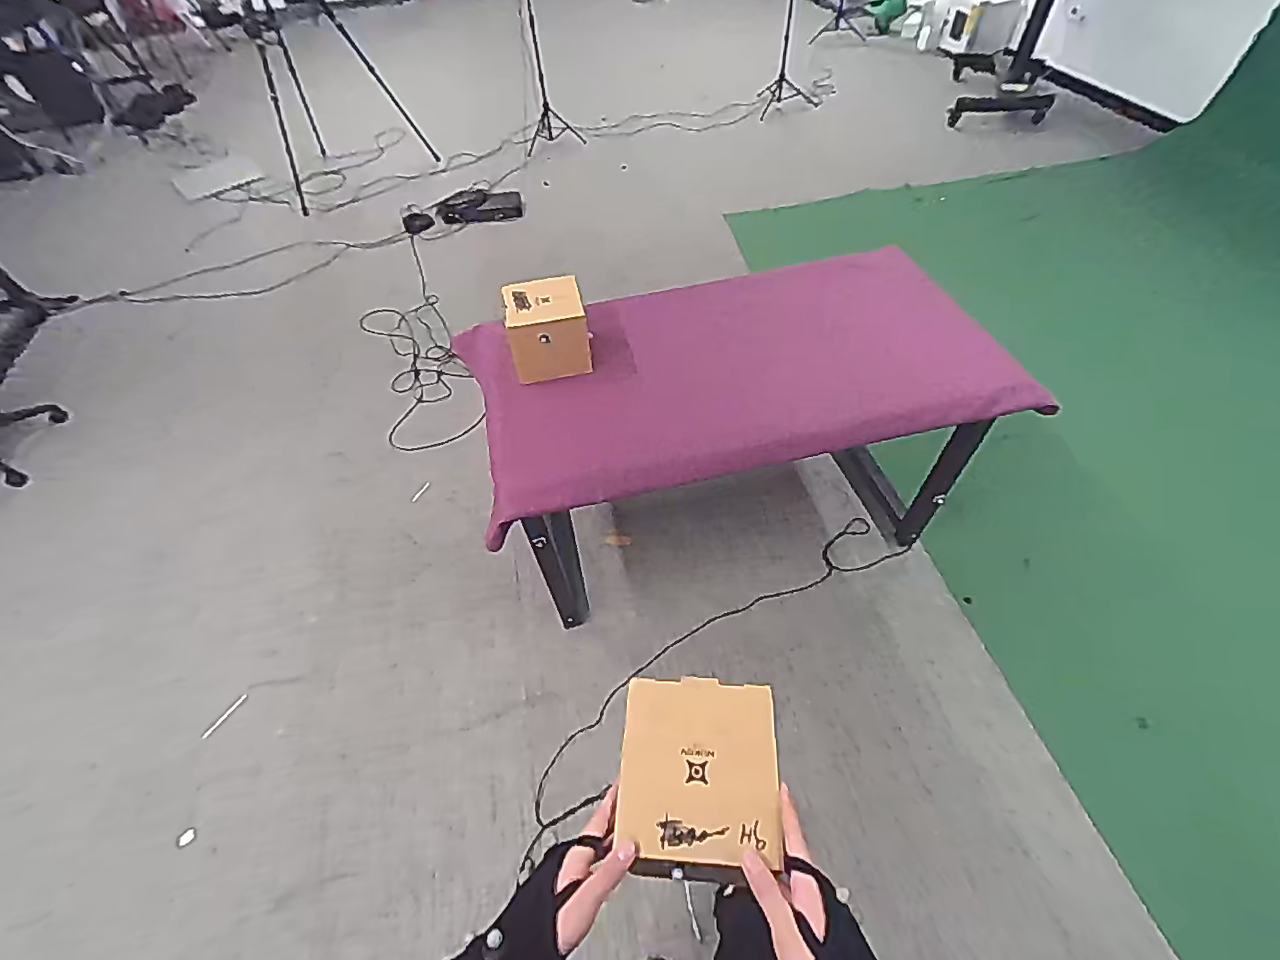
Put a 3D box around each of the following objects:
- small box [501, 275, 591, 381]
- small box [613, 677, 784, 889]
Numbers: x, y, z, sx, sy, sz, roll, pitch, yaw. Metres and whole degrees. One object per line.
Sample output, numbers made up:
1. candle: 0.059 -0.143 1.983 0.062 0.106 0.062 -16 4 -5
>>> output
1. small box: -0.220 -0.355 1.281 0.179 0.176 0.168 -11 53 -6
2. small box: 0.067 0.350 0.625 0.168 0.176 0.179 1 50 7
